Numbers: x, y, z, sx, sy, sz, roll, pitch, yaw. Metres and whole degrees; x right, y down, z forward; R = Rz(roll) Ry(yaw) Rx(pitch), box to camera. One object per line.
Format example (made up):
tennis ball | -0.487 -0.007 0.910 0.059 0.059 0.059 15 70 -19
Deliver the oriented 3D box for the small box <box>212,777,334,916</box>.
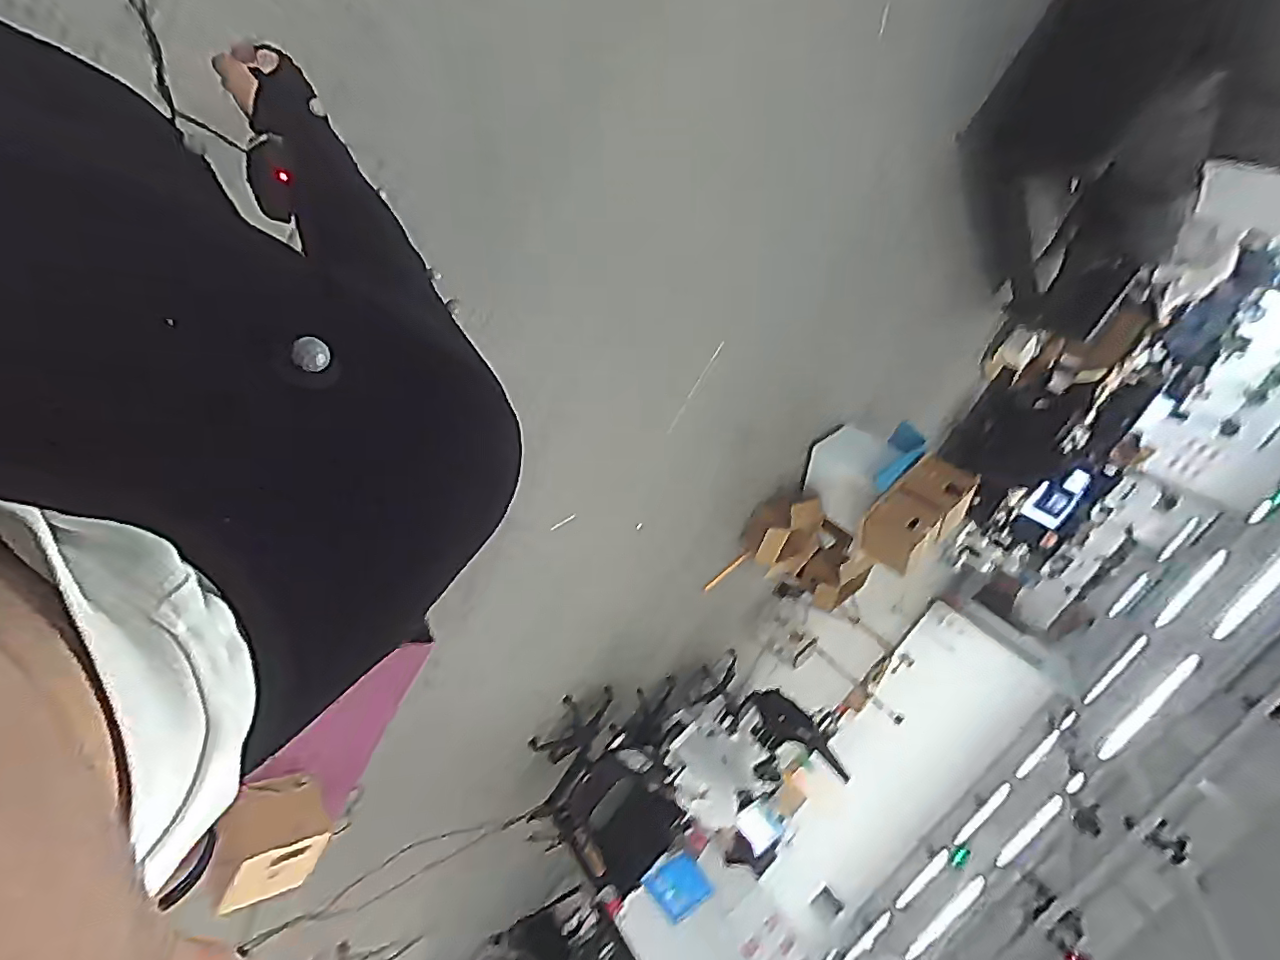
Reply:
small box | -0.811 0.786 1.189 0.168 0.176 0.179 15 110 -51
